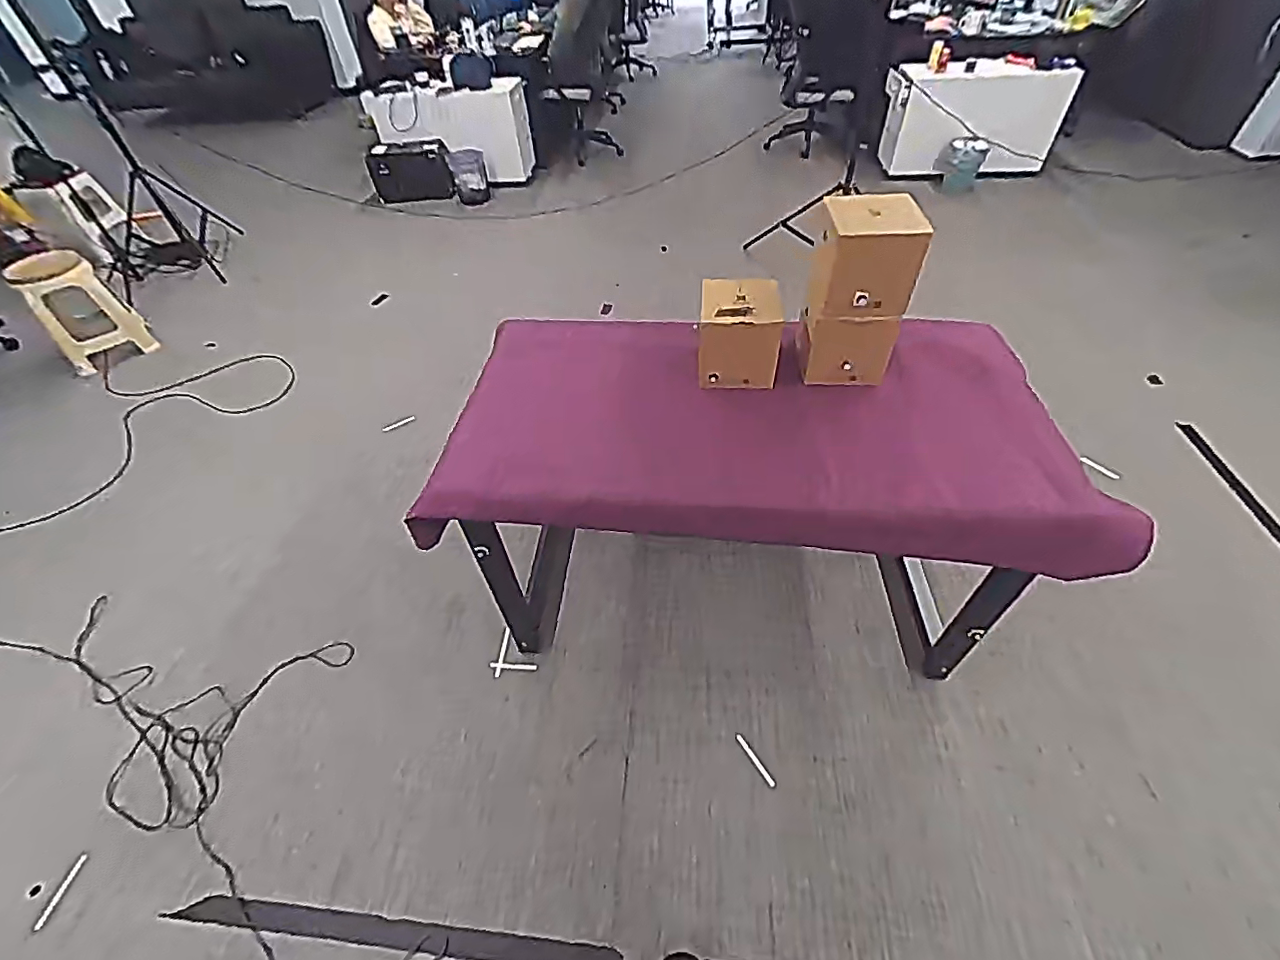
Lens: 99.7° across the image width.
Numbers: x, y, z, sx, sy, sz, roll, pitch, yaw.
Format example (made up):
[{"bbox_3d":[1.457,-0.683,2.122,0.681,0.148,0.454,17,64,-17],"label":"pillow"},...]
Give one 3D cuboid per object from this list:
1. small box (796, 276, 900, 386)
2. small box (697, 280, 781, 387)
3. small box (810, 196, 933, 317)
[{"bbox_3d":[0.444,-0.329,1.188,0.168,0.176,0.179,2,49,6],"label":"small box"},{"bbox_3d":[0.213,-0.322,1.196,0.168,0.176,0.179,2,48,5],"label":"small box"},{"bbox_3d":[0.443,-0.441,1.070,0.168,0.176,0.179,0,49,5],"label":"small box"}]
